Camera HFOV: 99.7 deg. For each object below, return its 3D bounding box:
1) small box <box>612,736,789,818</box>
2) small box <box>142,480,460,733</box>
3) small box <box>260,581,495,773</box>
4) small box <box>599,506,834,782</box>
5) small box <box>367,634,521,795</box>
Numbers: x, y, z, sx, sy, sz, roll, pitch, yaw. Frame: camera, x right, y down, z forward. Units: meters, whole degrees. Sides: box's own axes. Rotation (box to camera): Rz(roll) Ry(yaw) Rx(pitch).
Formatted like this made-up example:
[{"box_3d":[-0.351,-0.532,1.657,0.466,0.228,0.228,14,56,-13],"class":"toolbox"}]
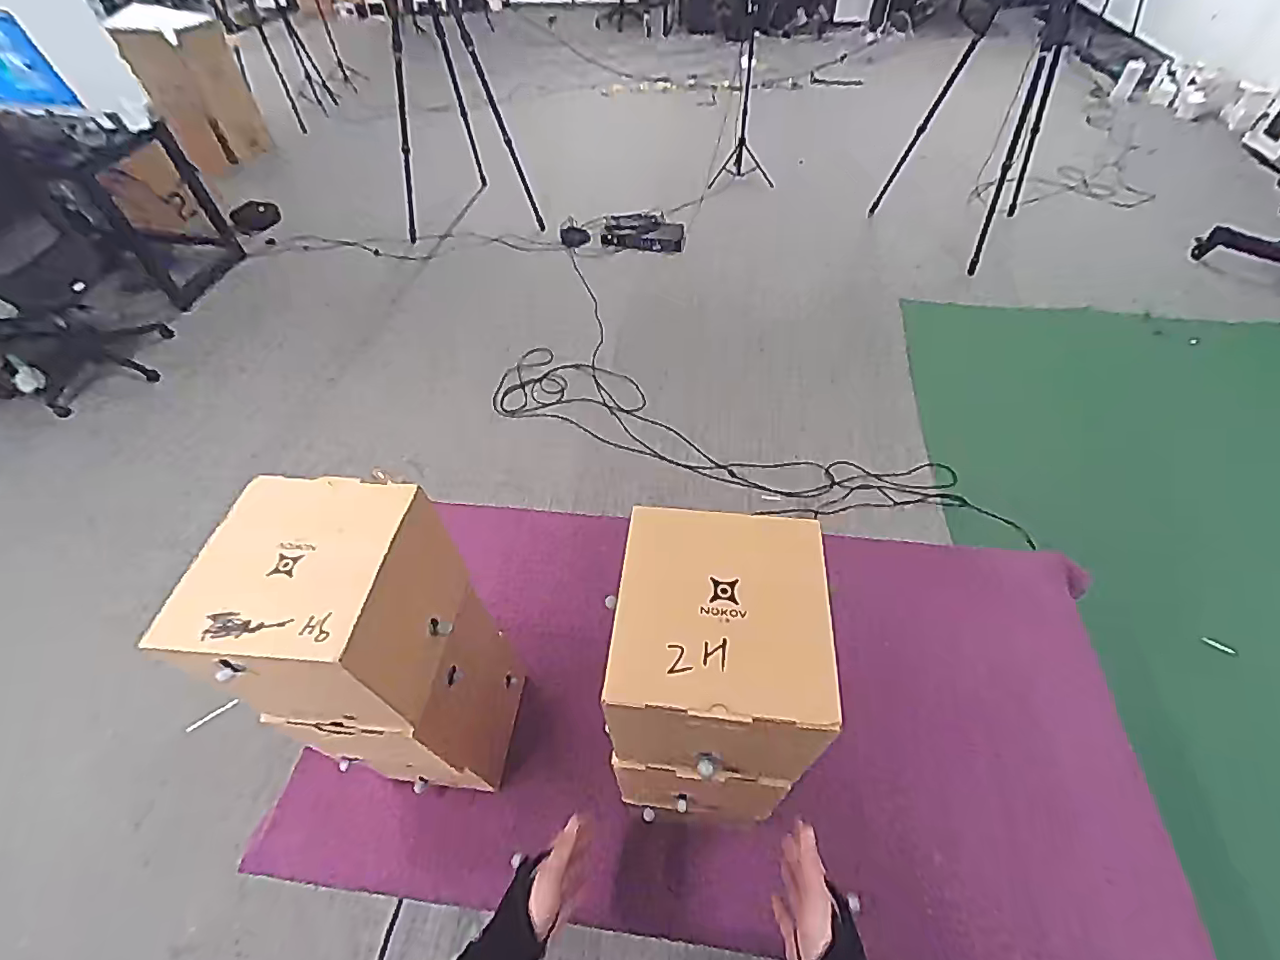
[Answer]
[{"box_3d":[0.066,0.257,0.607,0.168,0.176,0.179,4,51,6],"class":"small box"},{"box_3d":[-0.292,0.121,0.522,0.168,0.176,0.179,2,49,7],"class":"small box"},{"box_3d":[-0.287,0.232,0.644,0.168,0.176,0.179,3,49,6],"class":"small box"},{"box_3d":[0.064,0.147,0.484,0.168,0.176,0.179,4,51,6],"class":"small box"},{"box_3d":[-0.280,0.330,0.775,0.168,0.176,0.179,3,51,6],"class":"small box"}]
